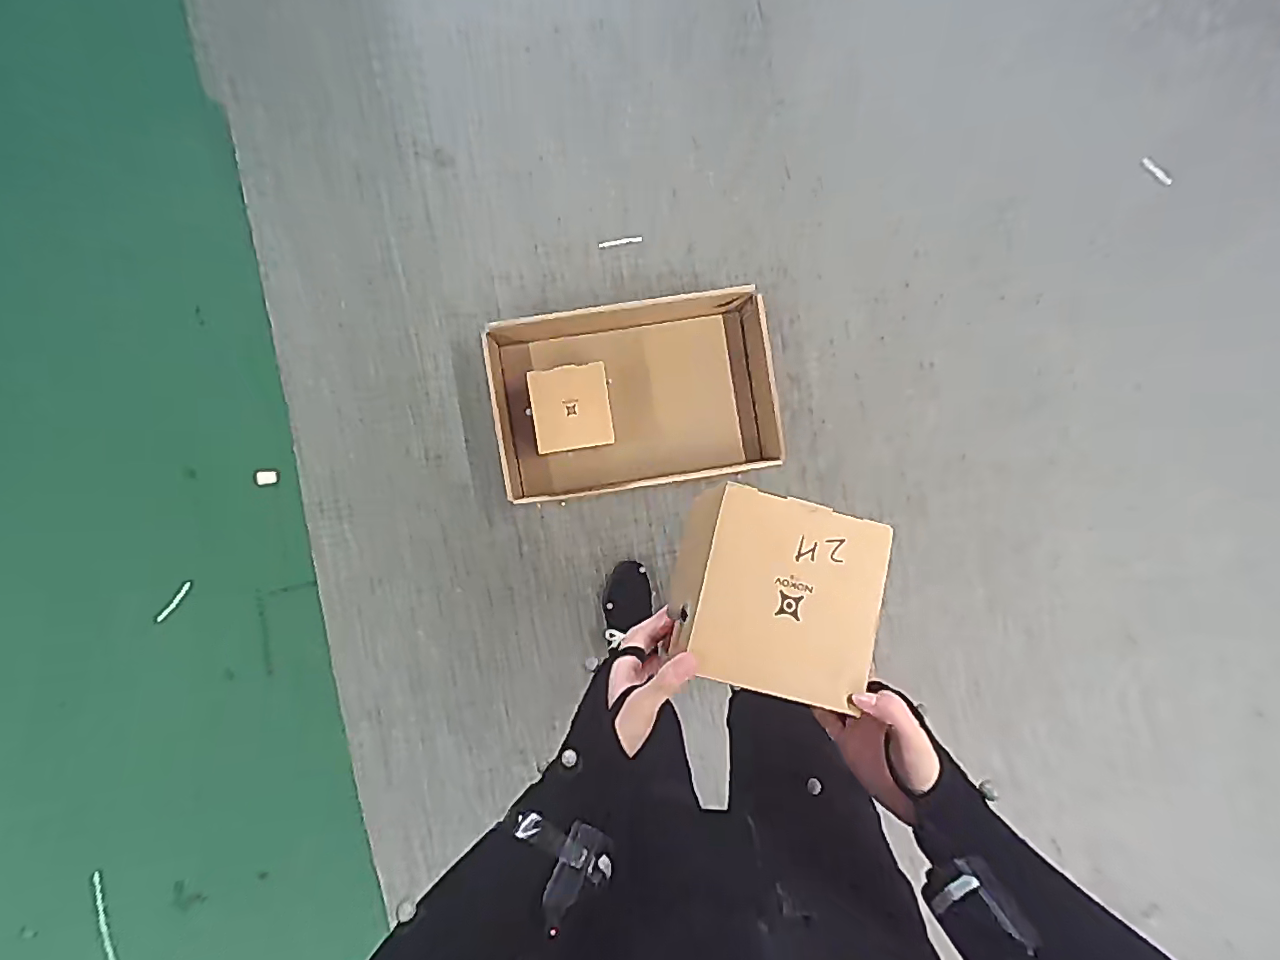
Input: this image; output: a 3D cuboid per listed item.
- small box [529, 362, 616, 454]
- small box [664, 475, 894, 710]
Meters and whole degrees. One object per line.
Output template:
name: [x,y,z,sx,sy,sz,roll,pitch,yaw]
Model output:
small box: [-0.145,-0.155,1.217,0.168,0.176,0.179,-9,90,-3]
small box: [0.129,0.110,0.561,0.168,0.176,0.179,16,80,-4]
